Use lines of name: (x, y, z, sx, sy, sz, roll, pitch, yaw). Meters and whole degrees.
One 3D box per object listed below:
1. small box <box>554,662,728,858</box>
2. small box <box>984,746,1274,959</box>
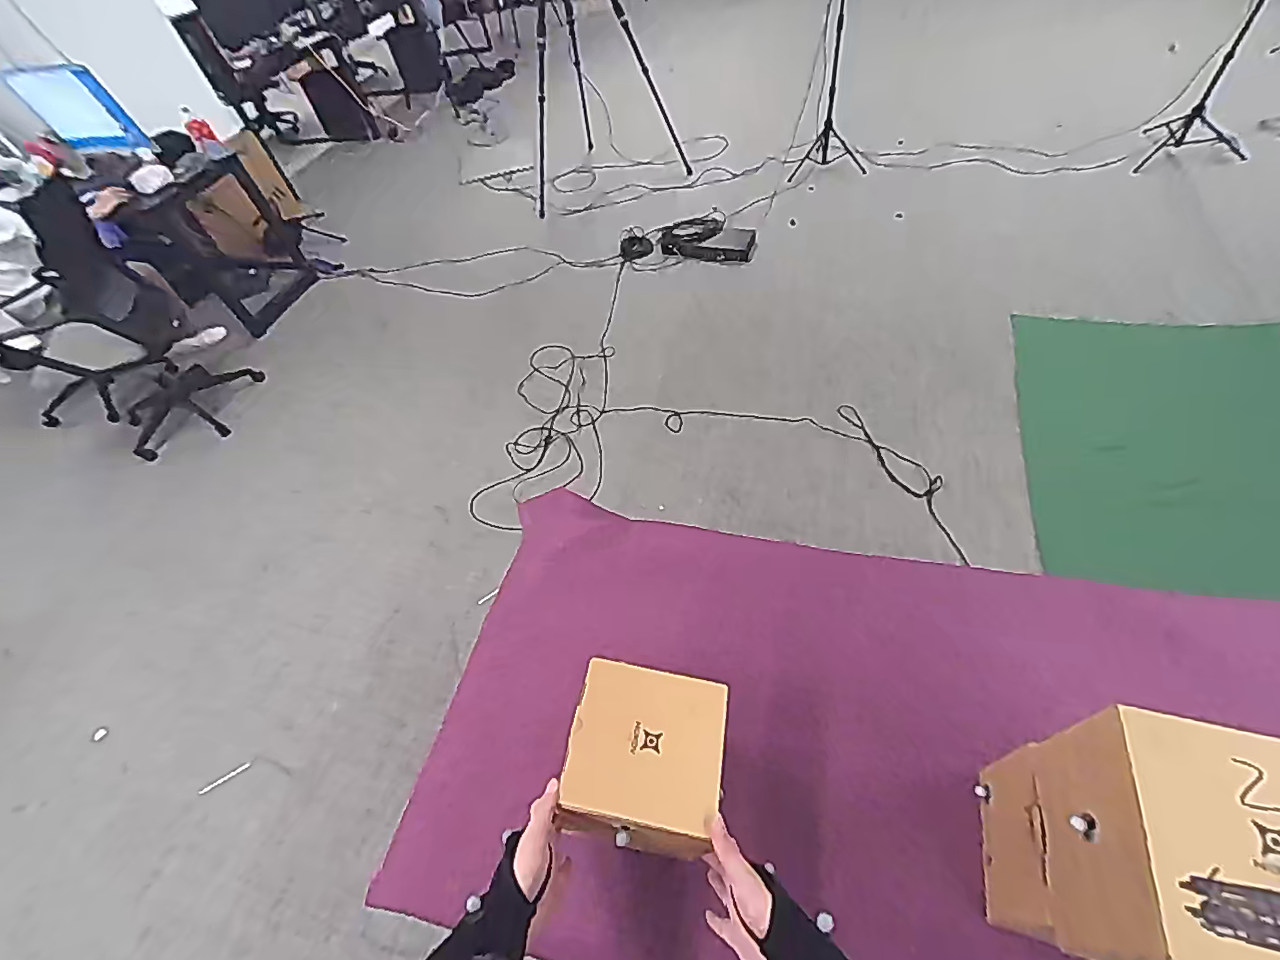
small box: (0.004, 0.353, 0.674, 0.179, 0.176, 0.168, 10, 49, 5)
small box: (0.493, 0.415, 0.583, 0.179, 0.176, 0.168, 9, 55, 16)
